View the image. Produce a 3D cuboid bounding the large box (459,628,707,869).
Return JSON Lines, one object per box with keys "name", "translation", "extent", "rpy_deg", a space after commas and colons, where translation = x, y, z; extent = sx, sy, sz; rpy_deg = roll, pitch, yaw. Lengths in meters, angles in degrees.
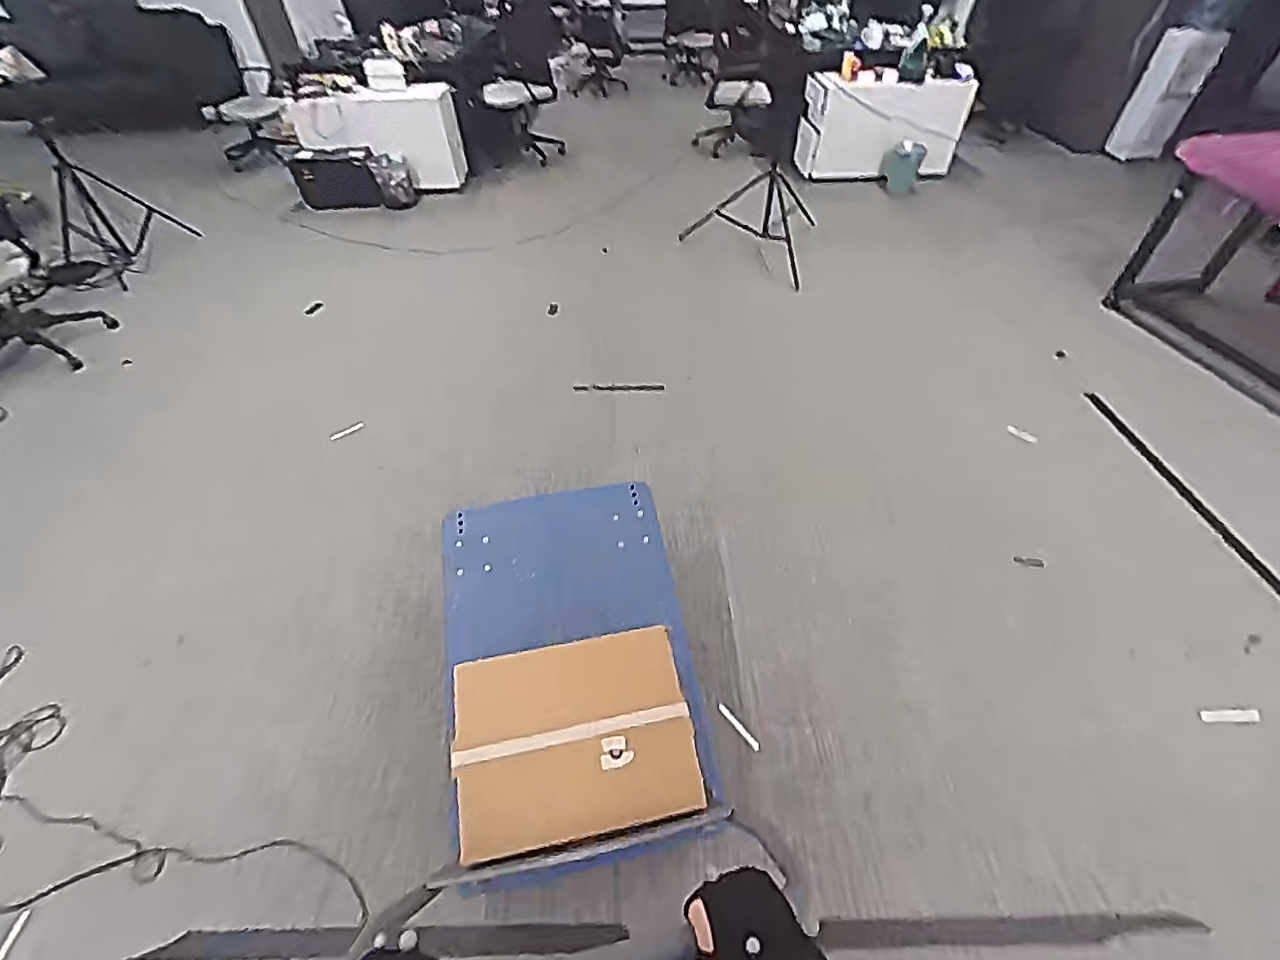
{"name": "large box", "translation": [-0.119, 0.531, 1.087], "extent": [0.408, 0.320, 0.320], "rpy_deg": [-10, 61, -9]}
